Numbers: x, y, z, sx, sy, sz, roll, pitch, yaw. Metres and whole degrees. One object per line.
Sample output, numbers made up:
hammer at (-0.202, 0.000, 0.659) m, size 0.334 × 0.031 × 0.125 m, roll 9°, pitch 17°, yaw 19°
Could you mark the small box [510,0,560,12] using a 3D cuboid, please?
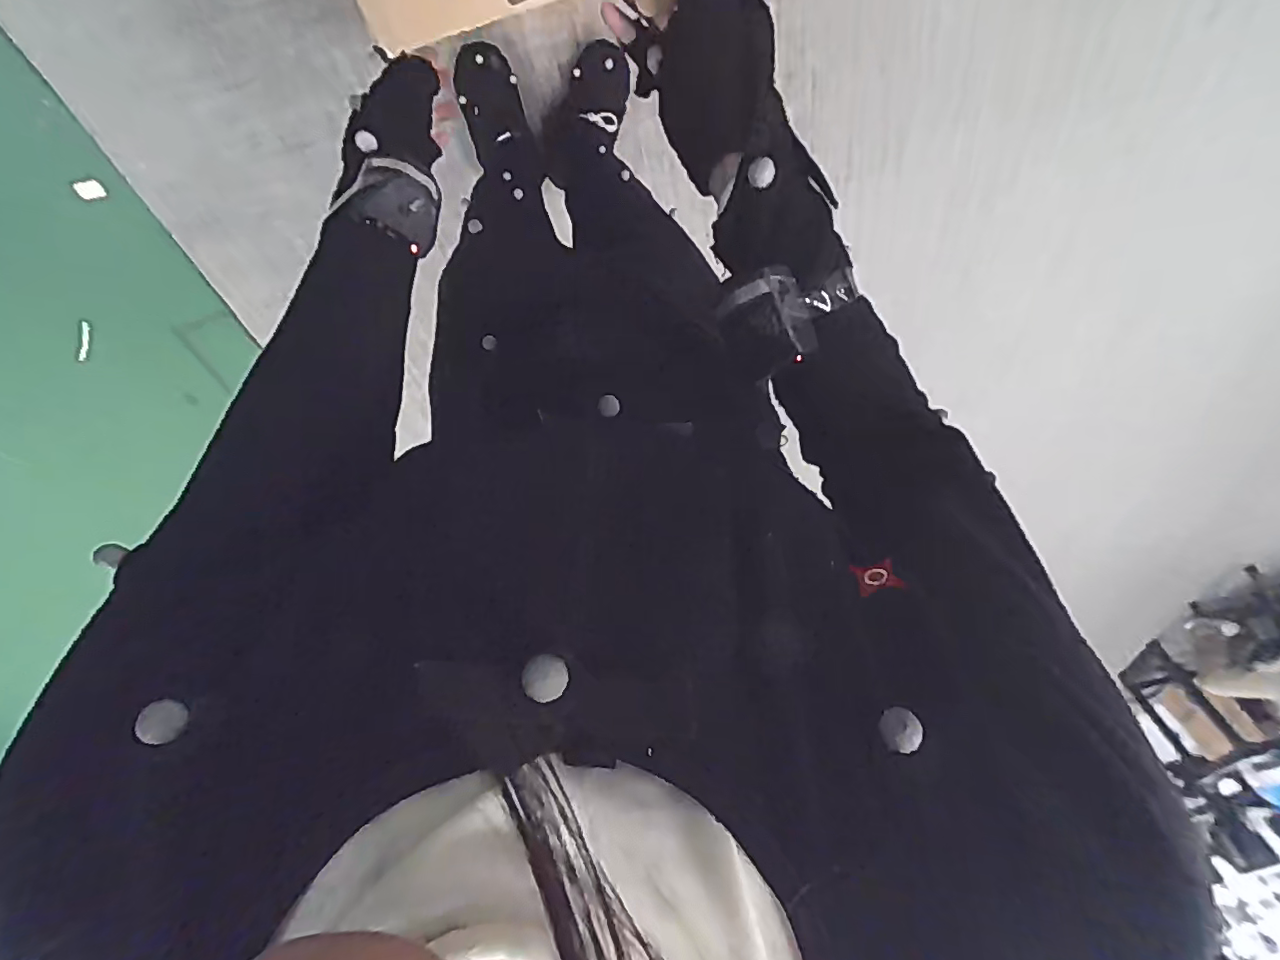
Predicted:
small box at (-0.035, -0.403, 0.304) m, size 0.168 × 0.176 × 0.179 m, roll -23°, pitch 130°, yaw 2°
